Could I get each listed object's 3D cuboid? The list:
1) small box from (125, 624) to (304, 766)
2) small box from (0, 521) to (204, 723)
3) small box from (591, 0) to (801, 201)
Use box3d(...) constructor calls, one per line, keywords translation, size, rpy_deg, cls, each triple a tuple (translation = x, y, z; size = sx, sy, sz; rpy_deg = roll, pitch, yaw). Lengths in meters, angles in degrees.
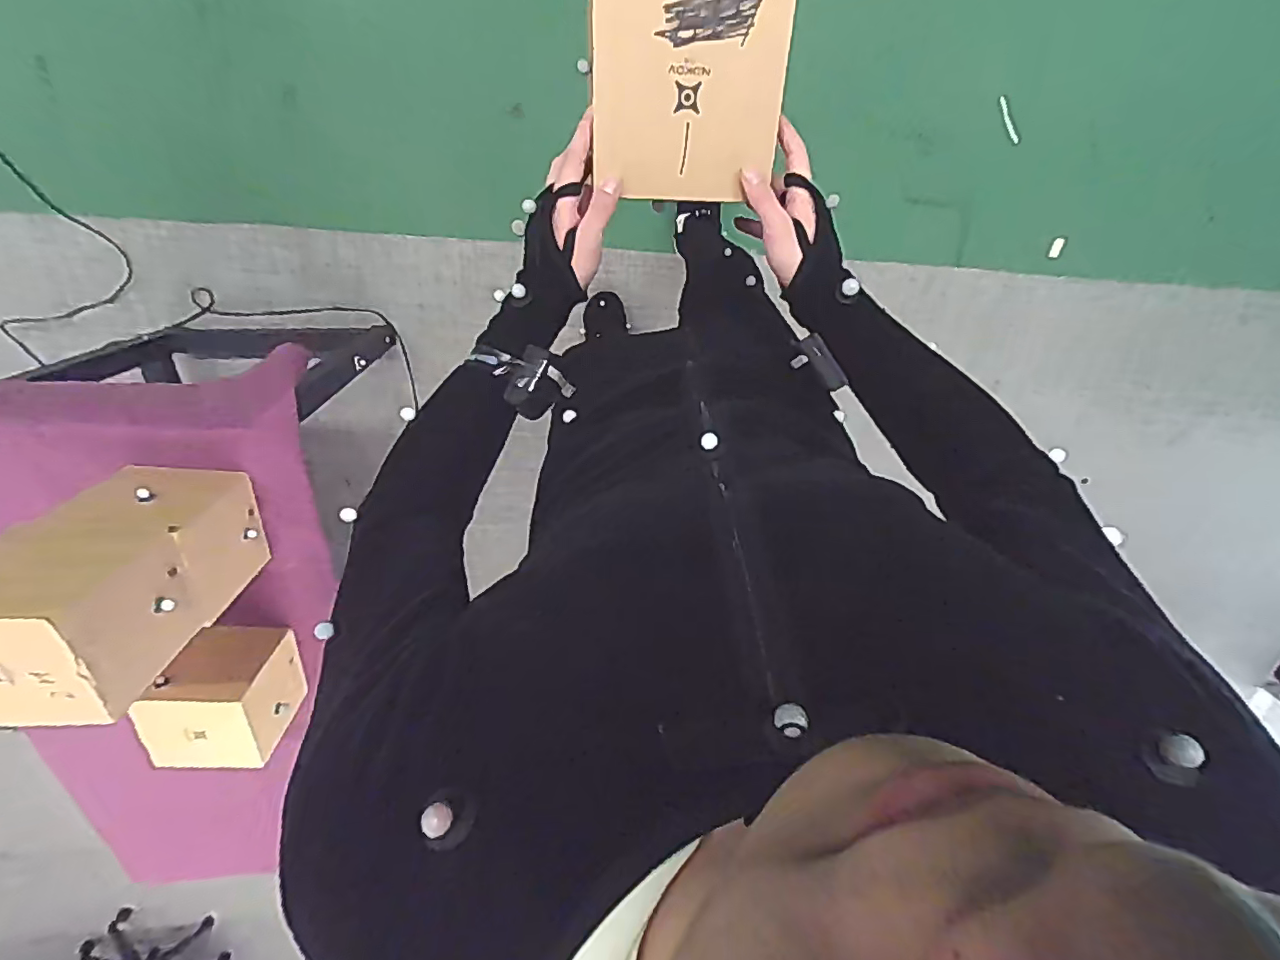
box3d(translation=(-0.717, 0.369, 0.942), size=(0.179, 0.176, 0.168), rpy_deg=(4, 118, -5), cls="small box")
box3d(translation=(-0.681, 0.161, 0.642), size=(0.179, 0.176, 0.168), rpy_deg=(2, 119, -5), cls="small box")
box3d(translation=(0.037, -0.376, 0.522), size=(0.168, 0.176, 0.179), rpy_deg=(0, 121, -6), cls="small box")
